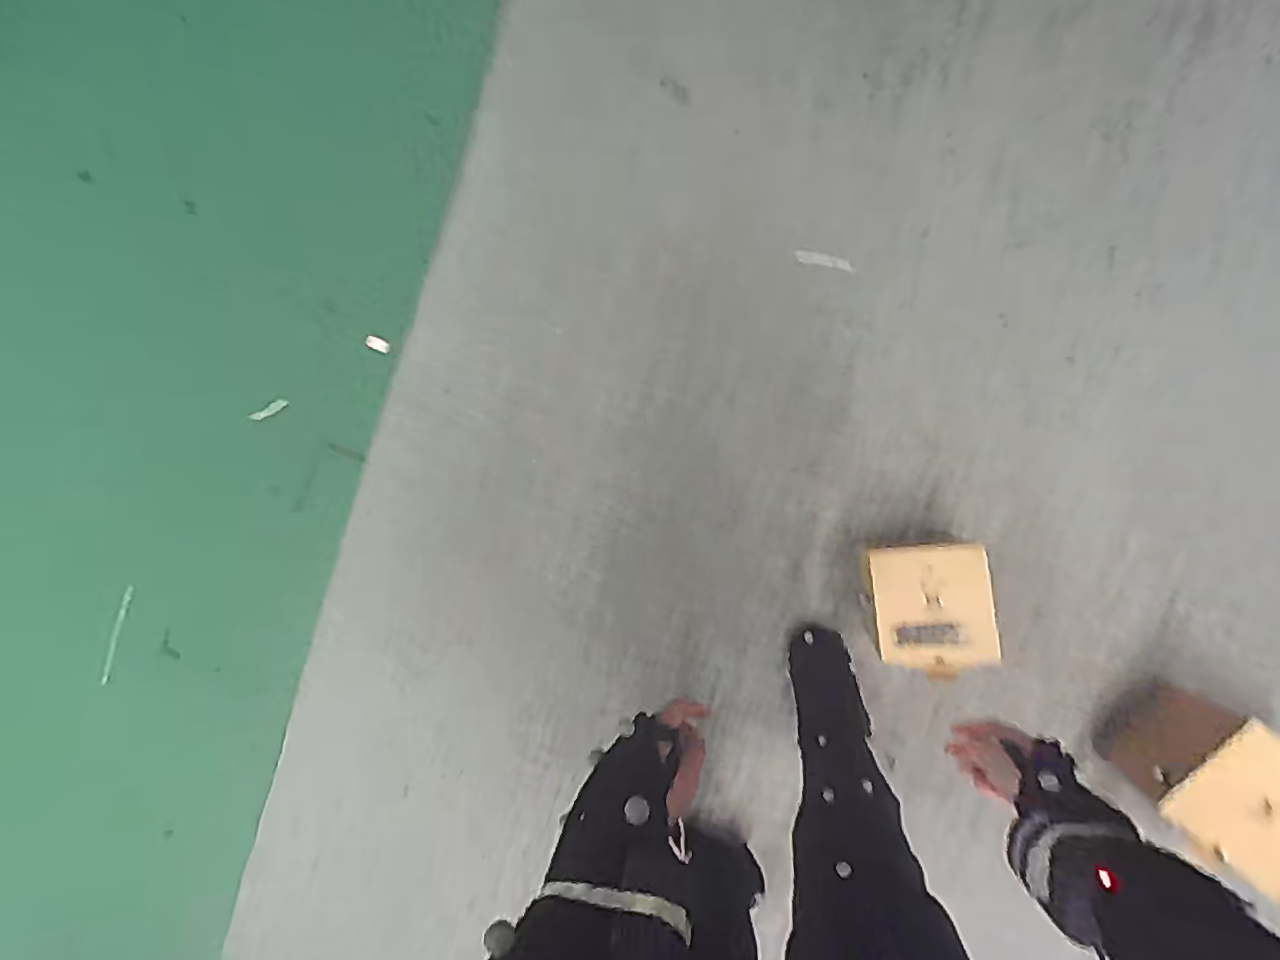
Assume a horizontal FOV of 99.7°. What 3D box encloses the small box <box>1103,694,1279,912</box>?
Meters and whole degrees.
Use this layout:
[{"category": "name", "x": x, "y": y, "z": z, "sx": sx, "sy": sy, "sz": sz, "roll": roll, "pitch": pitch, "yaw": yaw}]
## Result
[{"category": "small box", "x": 0.842, "y": 0.449, "z": 0.785, "sx": 0.168, "sy": 0.176, "sz": 0.179, "roll": 41, "pitch": 99, "yaw": 13}]
